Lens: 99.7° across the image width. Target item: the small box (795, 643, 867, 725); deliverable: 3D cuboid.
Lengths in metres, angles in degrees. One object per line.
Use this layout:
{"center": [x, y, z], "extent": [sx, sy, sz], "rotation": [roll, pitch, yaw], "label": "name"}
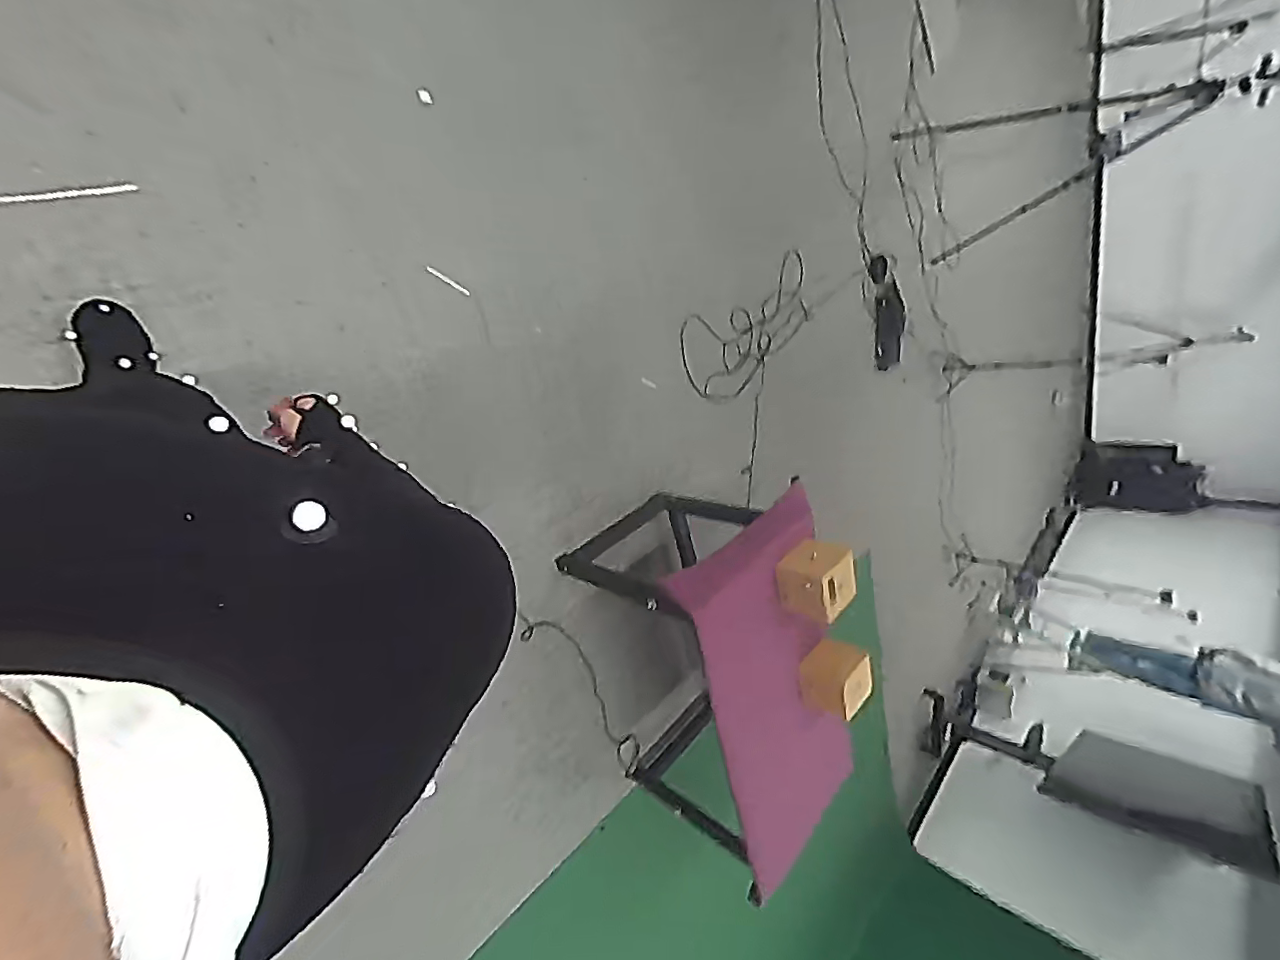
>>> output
{"center": [0.660, 0.696, 1.868], "extent": [0.179, 0.176, 0.168], "rotation": [-27, 114, -34], "label": "small box"}
